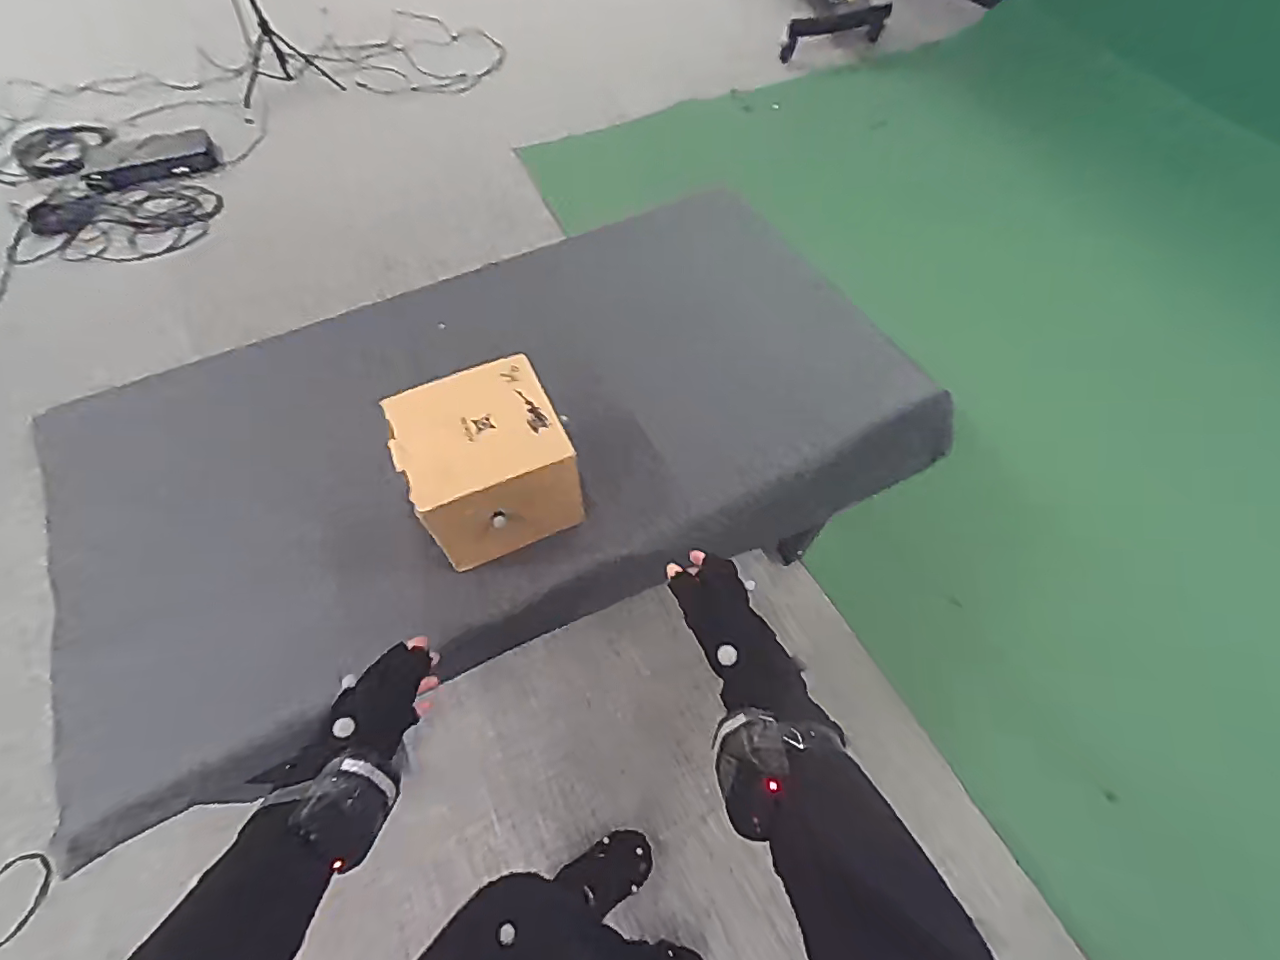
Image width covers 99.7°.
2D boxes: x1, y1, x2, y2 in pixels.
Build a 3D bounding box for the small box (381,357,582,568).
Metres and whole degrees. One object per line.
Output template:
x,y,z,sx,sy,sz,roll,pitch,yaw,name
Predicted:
-0.186,-0.015,0.671,0.179,0.176,0.168,-23,62,-13,small box
